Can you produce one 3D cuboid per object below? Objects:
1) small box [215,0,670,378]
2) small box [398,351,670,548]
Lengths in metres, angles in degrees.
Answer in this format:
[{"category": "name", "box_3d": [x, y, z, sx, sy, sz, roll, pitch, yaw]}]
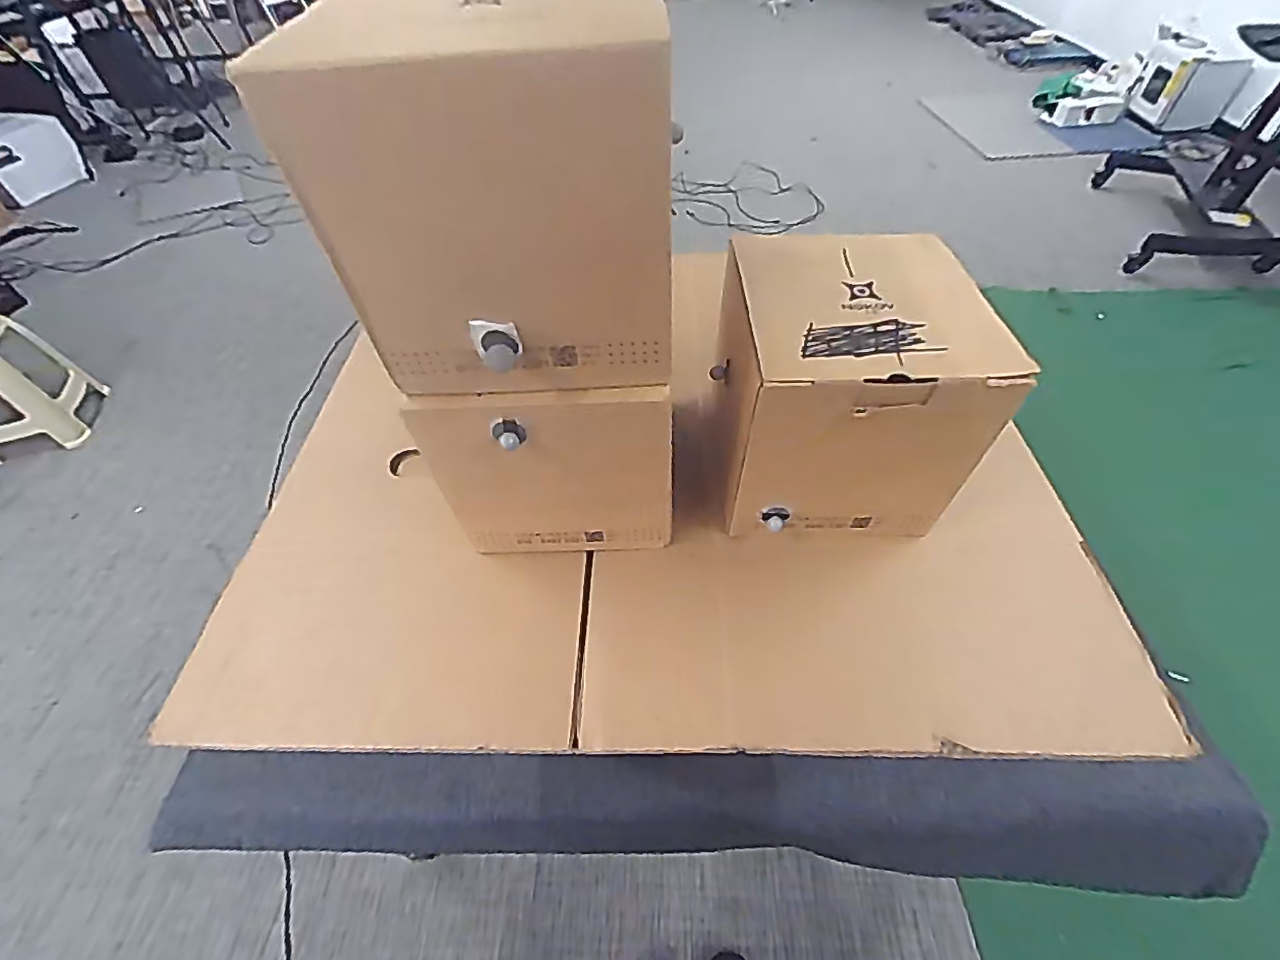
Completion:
[{"category": "small box", "box_3d": [-0.071, -0.180, 0.305, 0.168, 0.176, 0.179, -4, 53, 1]}, {"category": "small box", "box_3d": [-0.062, -0.062, 0.439, 0.168, 0.176, 0.179, -2, 51, 3]}]
